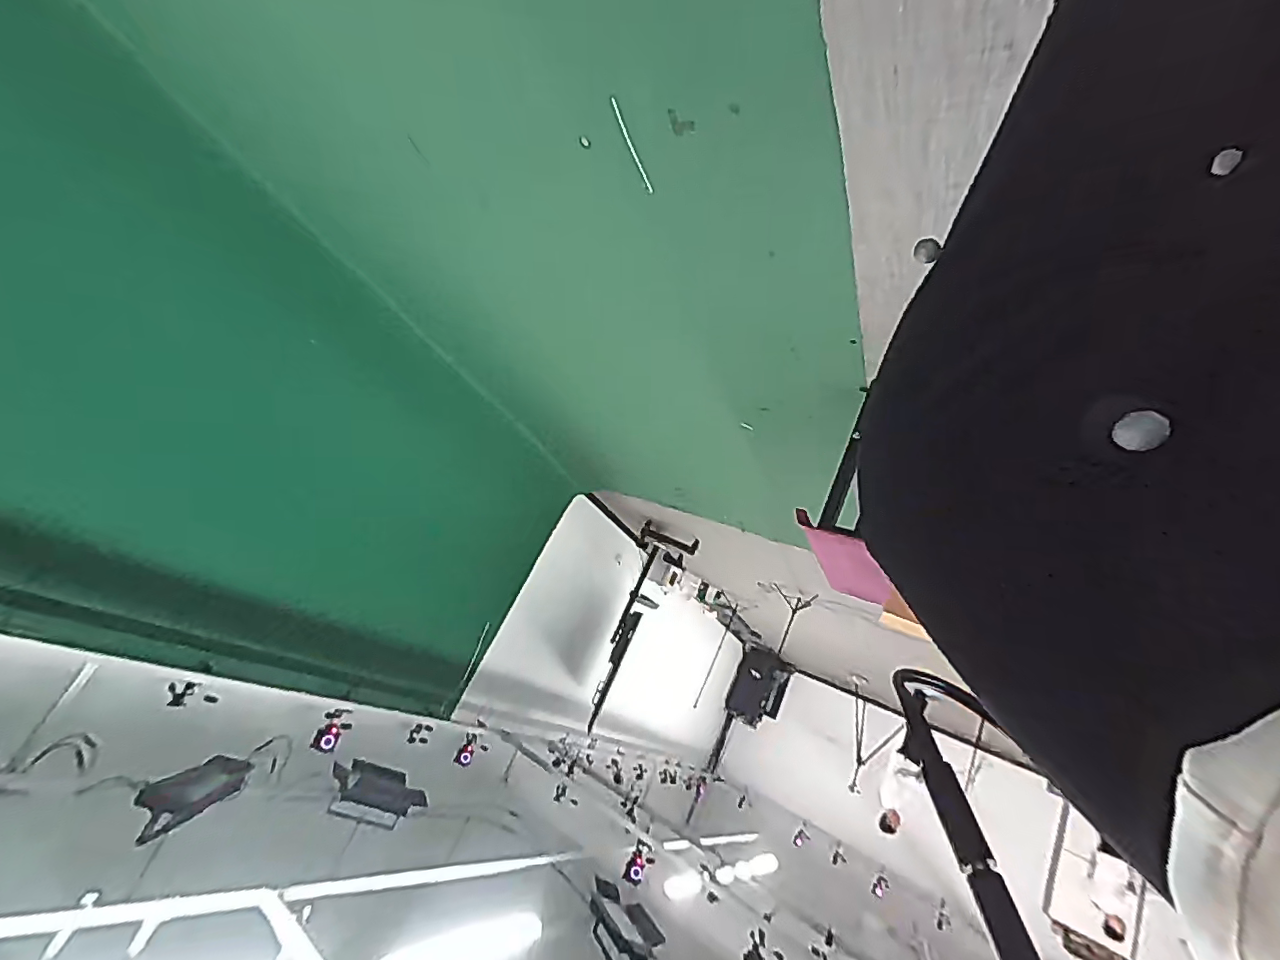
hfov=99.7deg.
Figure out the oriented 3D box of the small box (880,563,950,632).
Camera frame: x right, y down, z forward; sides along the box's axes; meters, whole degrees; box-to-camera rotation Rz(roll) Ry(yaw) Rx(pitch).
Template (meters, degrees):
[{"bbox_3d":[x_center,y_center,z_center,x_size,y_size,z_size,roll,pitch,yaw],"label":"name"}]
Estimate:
[{"bbox_3d":[0.961,0.408,1.891,0.179,0.176,0.168,18,161,25],"label":"small box"}]
